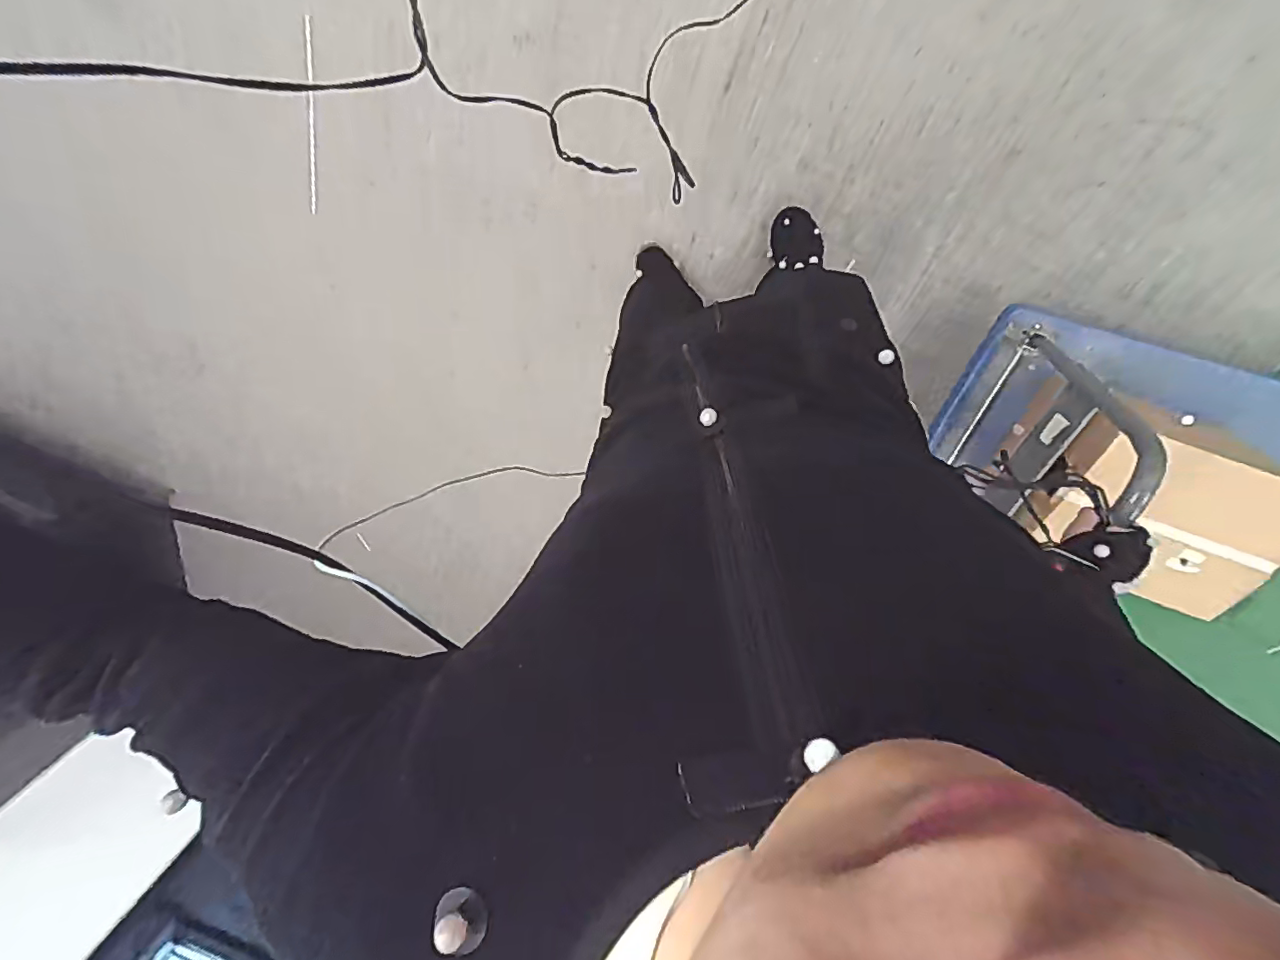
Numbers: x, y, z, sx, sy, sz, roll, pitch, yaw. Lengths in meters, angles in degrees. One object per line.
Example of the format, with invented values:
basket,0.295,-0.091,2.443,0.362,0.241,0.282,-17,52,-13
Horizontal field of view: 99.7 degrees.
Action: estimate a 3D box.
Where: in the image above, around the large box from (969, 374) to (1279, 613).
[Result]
large box,1.023,0.013,1.164,0.408,0.320,0.320,21,123,3
